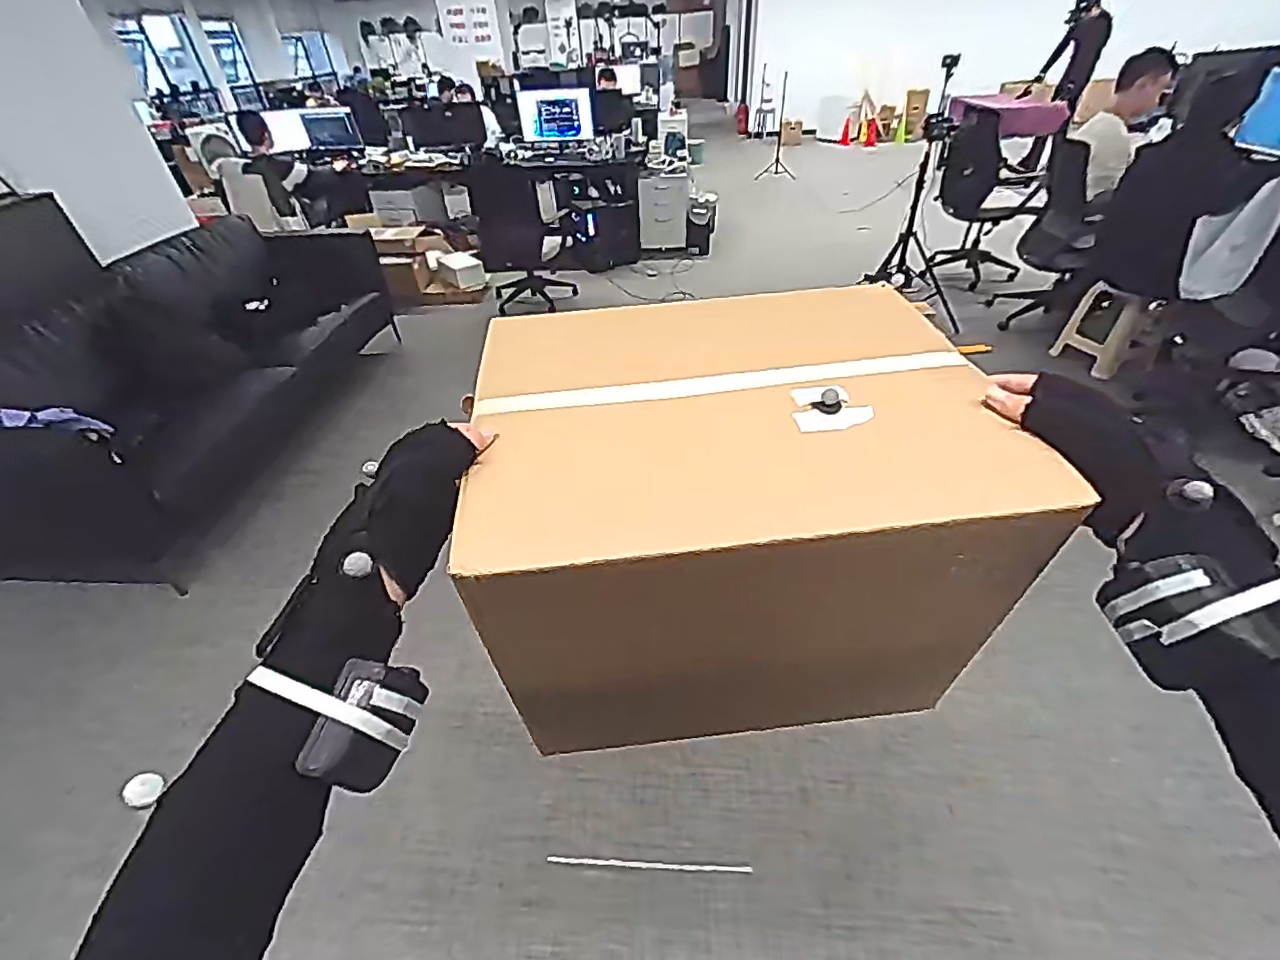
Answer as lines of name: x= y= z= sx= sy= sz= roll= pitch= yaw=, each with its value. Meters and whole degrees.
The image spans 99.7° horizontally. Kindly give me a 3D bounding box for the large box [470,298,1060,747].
large box: x=0.075 y=0.039 z=0.558 sx=0.408 sy=0.320 sz=0.320 roll=-6 pitch=45 yaw=-3
